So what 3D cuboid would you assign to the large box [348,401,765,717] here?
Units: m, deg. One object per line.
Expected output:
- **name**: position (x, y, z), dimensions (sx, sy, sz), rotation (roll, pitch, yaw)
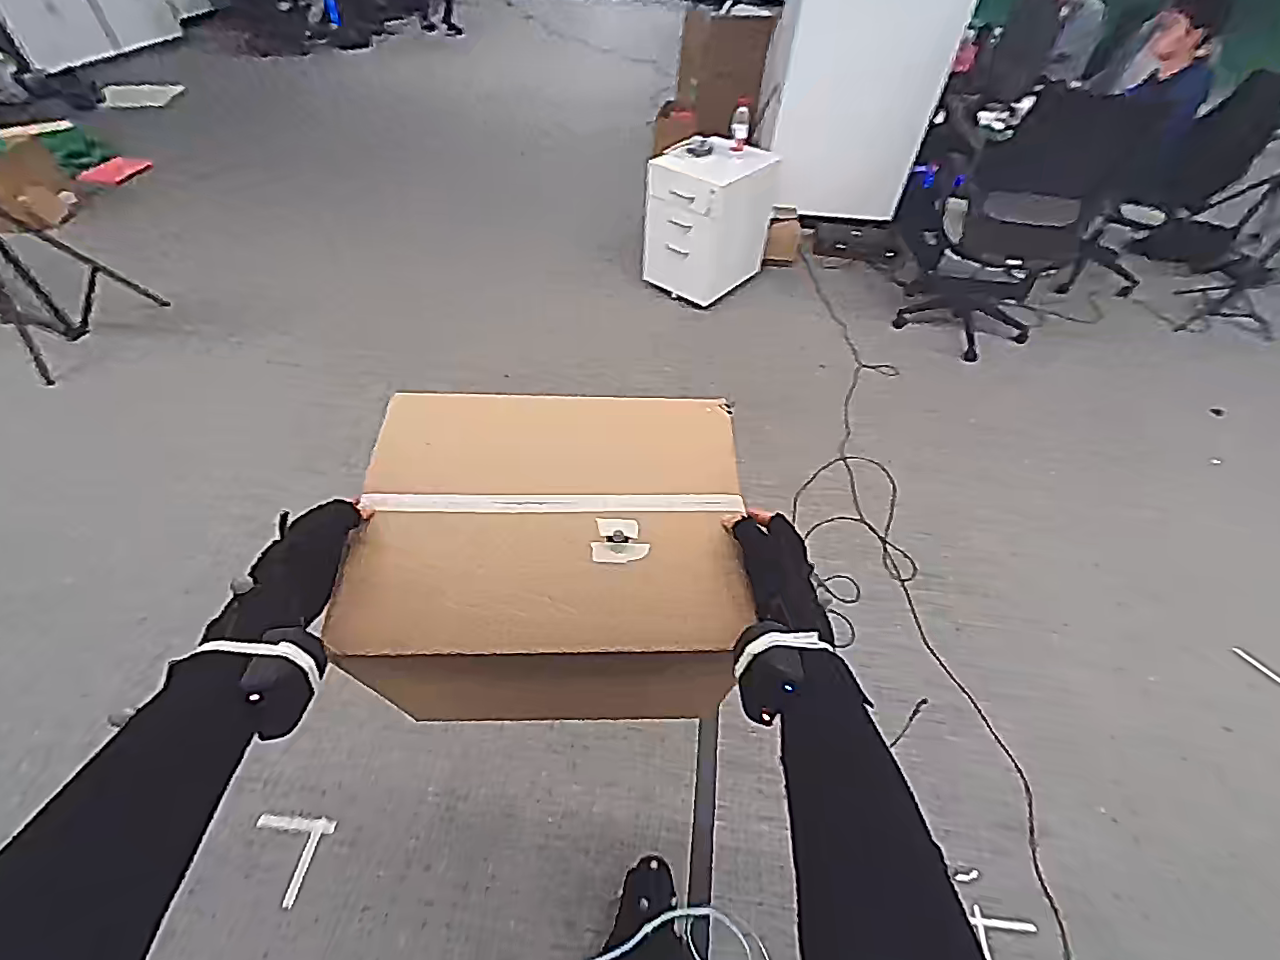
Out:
- **large box**: position (-0.089, 0.115, 0.716), dimensions (0.408, 0.320, 0.320), rotation (2, 56, -4)
